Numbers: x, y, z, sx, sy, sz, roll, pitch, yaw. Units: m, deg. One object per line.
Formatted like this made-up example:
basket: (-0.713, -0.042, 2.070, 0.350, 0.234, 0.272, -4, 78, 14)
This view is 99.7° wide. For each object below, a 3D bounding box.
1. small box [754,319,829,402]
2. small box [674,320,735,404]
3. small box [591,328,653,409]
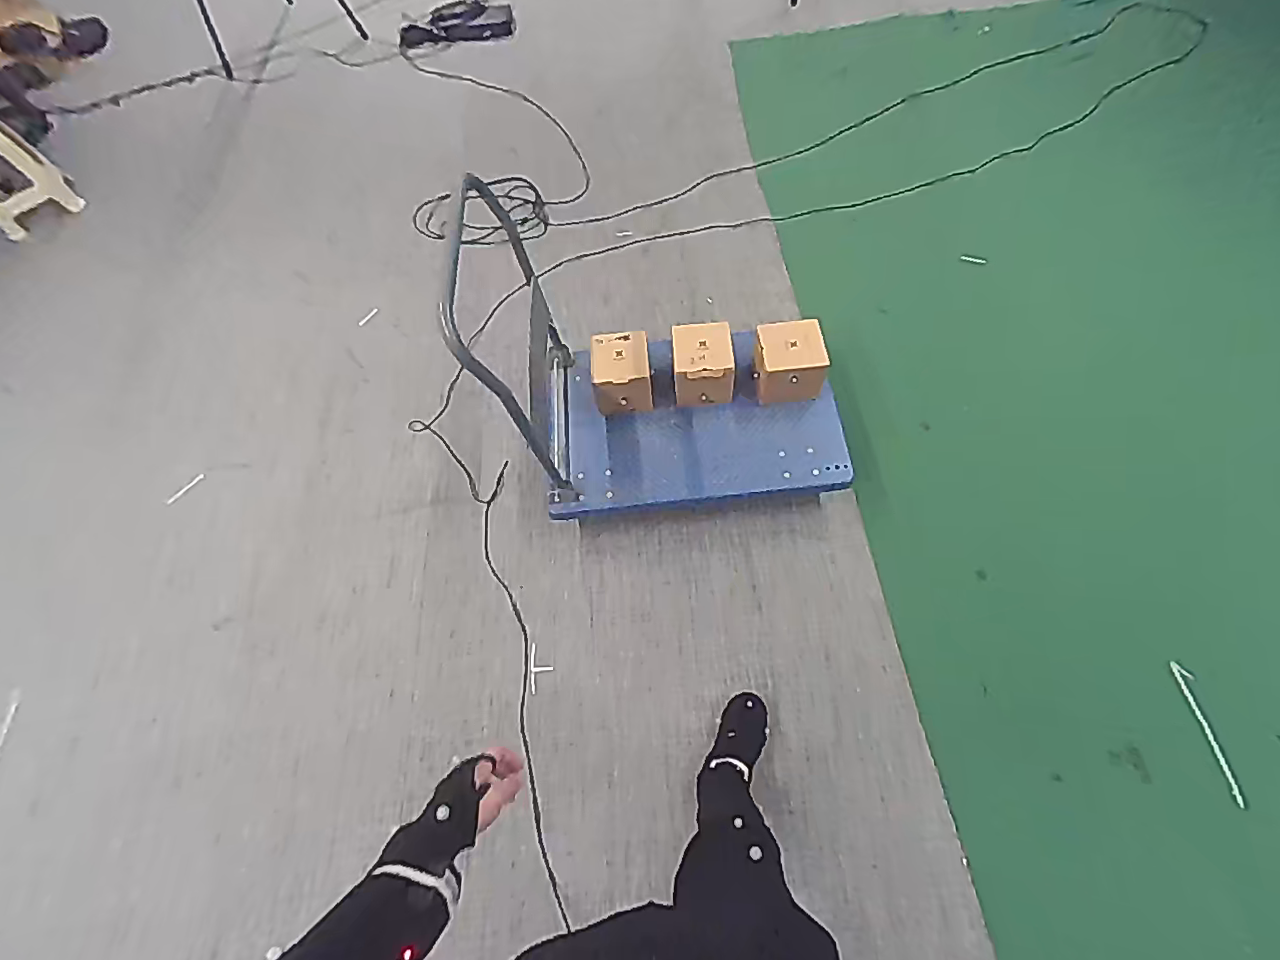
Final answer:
small box: (0.429, -0.341, 1.567, 0.179, 0.176, 0.168, -5, 64, 3)
small box: (0.185, -0.343, 1.590, 0.168, 0.176, 0.179, -3, 63, 4)
small box: (-0.050, -0.321, 1.600, 0.168, 0.176, 0.179, -4, 64, 3)
